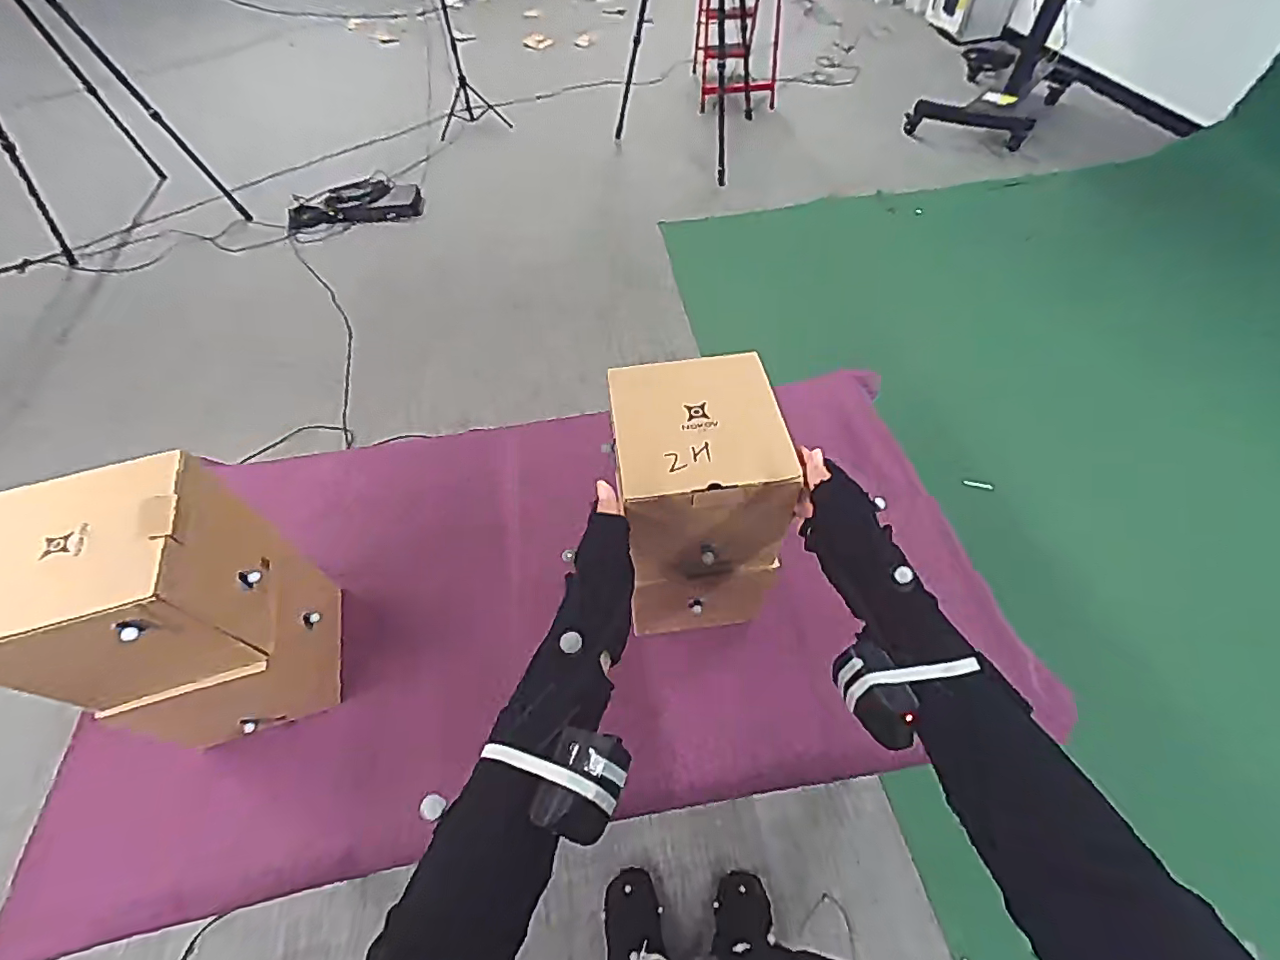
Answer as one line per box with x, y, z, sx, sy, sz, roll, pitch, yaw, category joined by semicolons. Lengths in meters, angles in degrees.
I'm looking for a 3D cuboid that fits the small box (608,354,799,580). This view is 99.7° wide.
0.057;-0.011;0.598;0.168;0.176;0.179;-8;55;-2;small box

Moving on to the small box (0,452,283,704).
-0.501;0.103;0.543;0.179;0.176;0.168;-16;56;-10;small box

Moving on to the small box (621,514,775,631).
0.066;0.090;0.724;0.179;0.176;0.168;-4;53;0;small box
